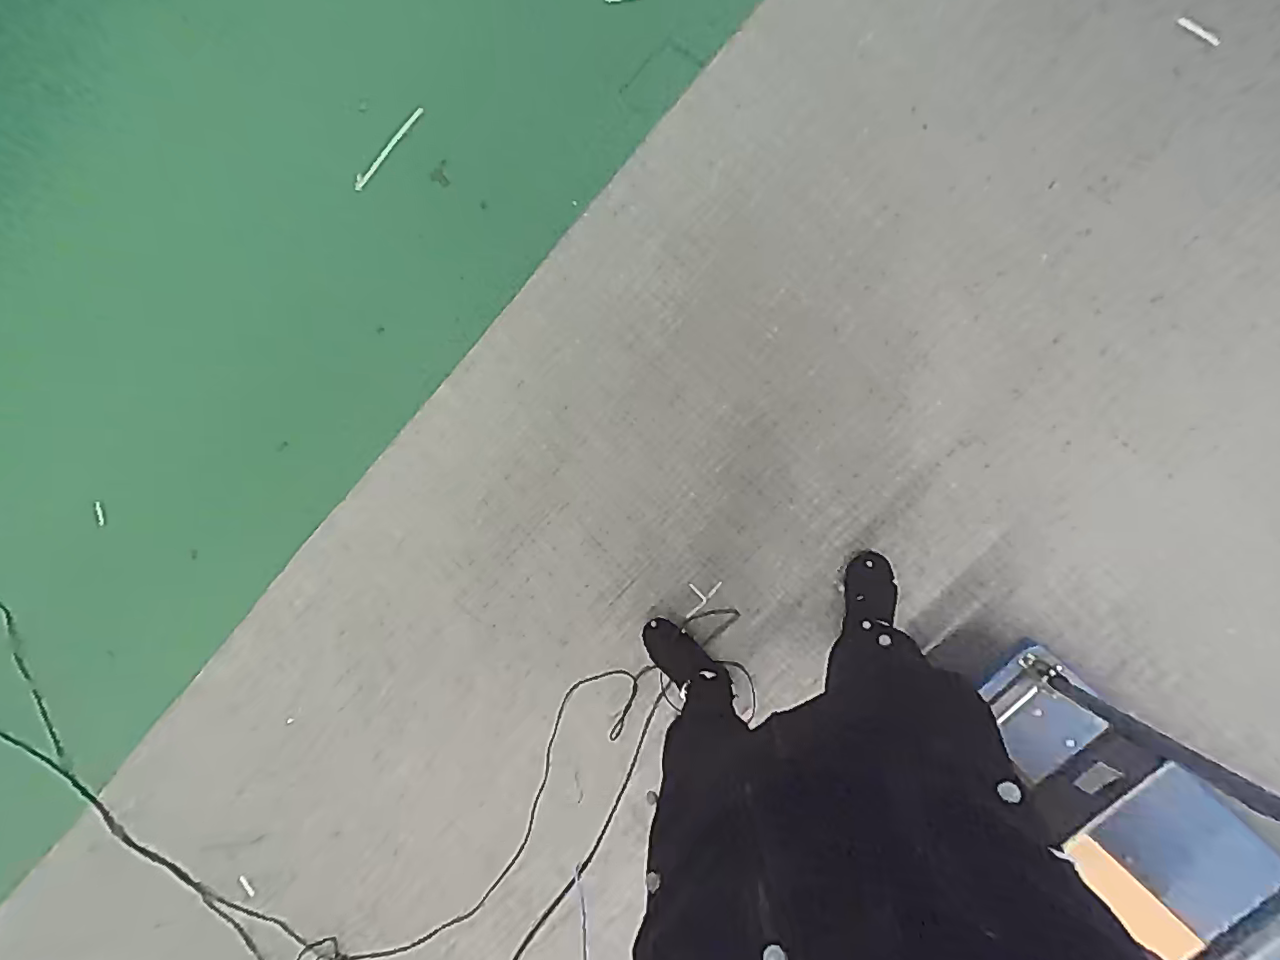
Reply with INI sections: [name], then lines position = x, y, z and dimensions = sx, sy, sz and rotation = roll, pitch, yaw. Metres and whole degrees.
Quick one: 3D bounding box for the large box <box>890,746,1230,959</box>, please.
[large box]
position = 0.744, 0.785, 0.967
dimensions = 0.408, 0.320, 0.320
rotation = 44, 96, 10
